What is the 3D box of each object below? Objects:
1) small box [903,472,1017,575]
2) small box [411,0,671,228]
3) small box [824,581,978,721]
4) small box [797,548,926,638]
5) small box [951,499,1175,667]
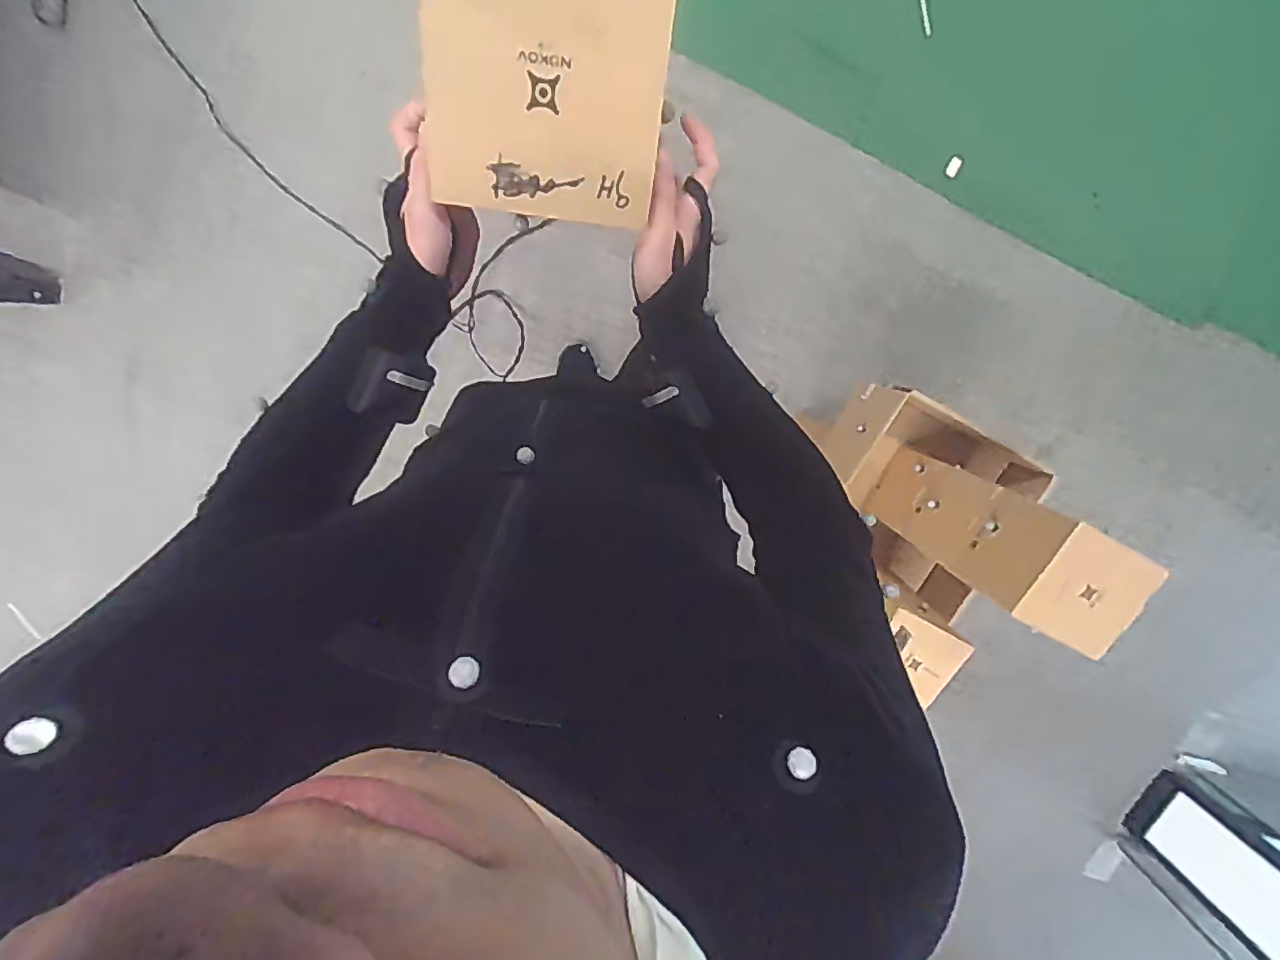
[{"bbox_3d":[0.635,0.104,0.998,0.179,0.176,0.168,26,103,-9],"label":"small box"},{"bbox_3d":[-0.072,-0.312,0.430,0.168,0.176,0.179,5,119,-5],"label":"small box"},{"bbox_3d":[0.494,0.321,1.055,0.179,0.176,0.168,28,103,-10],"label":"small box"},{"bbox_3d":[0.488,0.277,1.214,0.179,0.176,0.168,28,103,-8],"label":"small box"},{"bbox_3d":[0.641,0.149,0.842,0.179,0.176,0.168,27,102,-9],"label":"small box"}]
